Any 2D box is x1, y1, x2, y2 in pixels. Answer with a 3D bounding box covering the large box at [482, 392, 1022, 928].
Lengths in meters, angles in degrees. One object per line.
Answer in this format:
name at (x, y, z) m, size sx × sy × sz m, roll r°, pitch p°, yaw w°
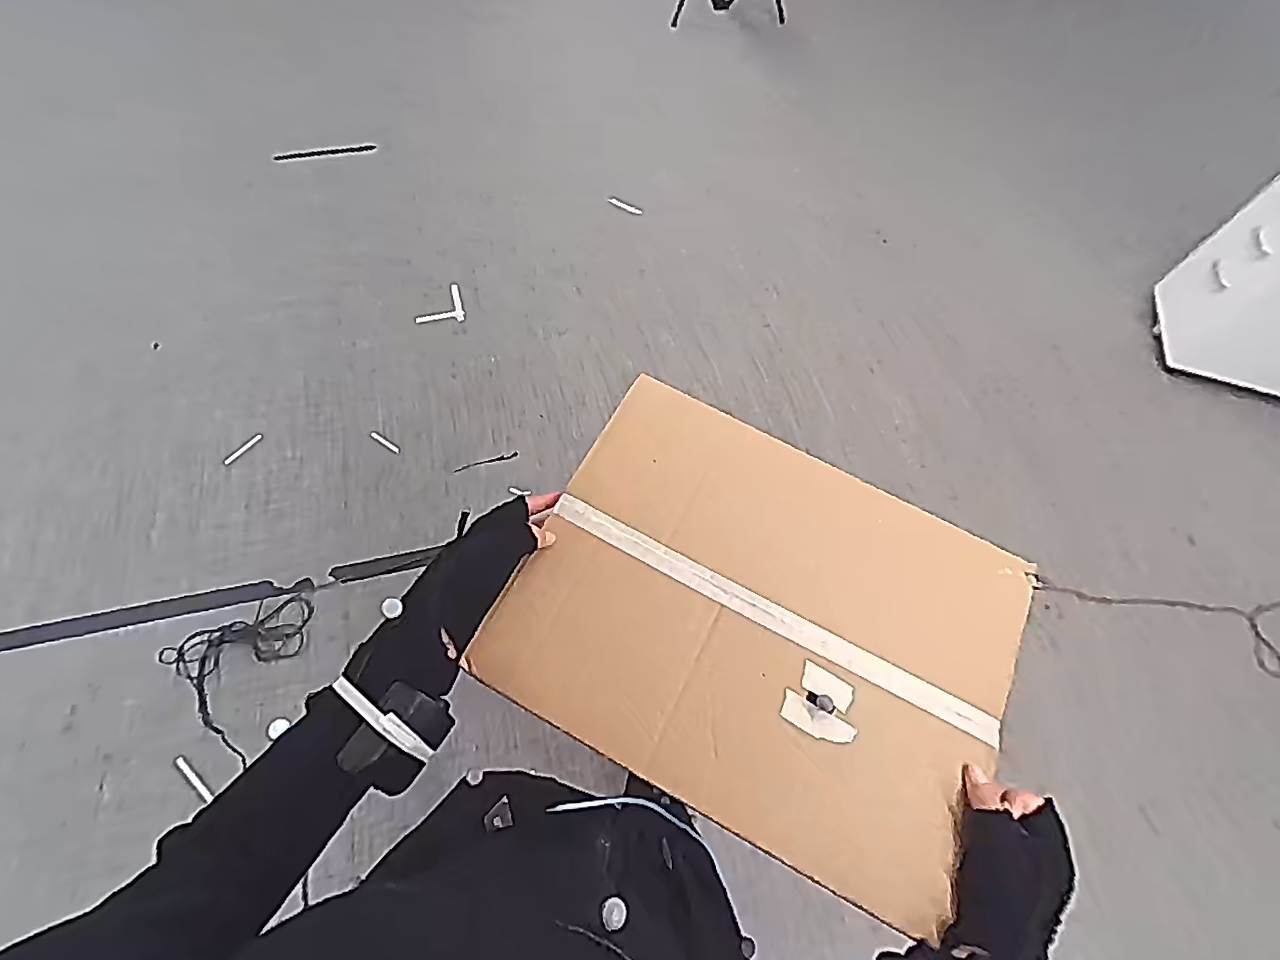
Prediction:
large box at (0.100, 0.174, 0.607) m, size 0.408 × 0.320 × 0.320 m, roll 28°, pitch 70°, yaw 7°
